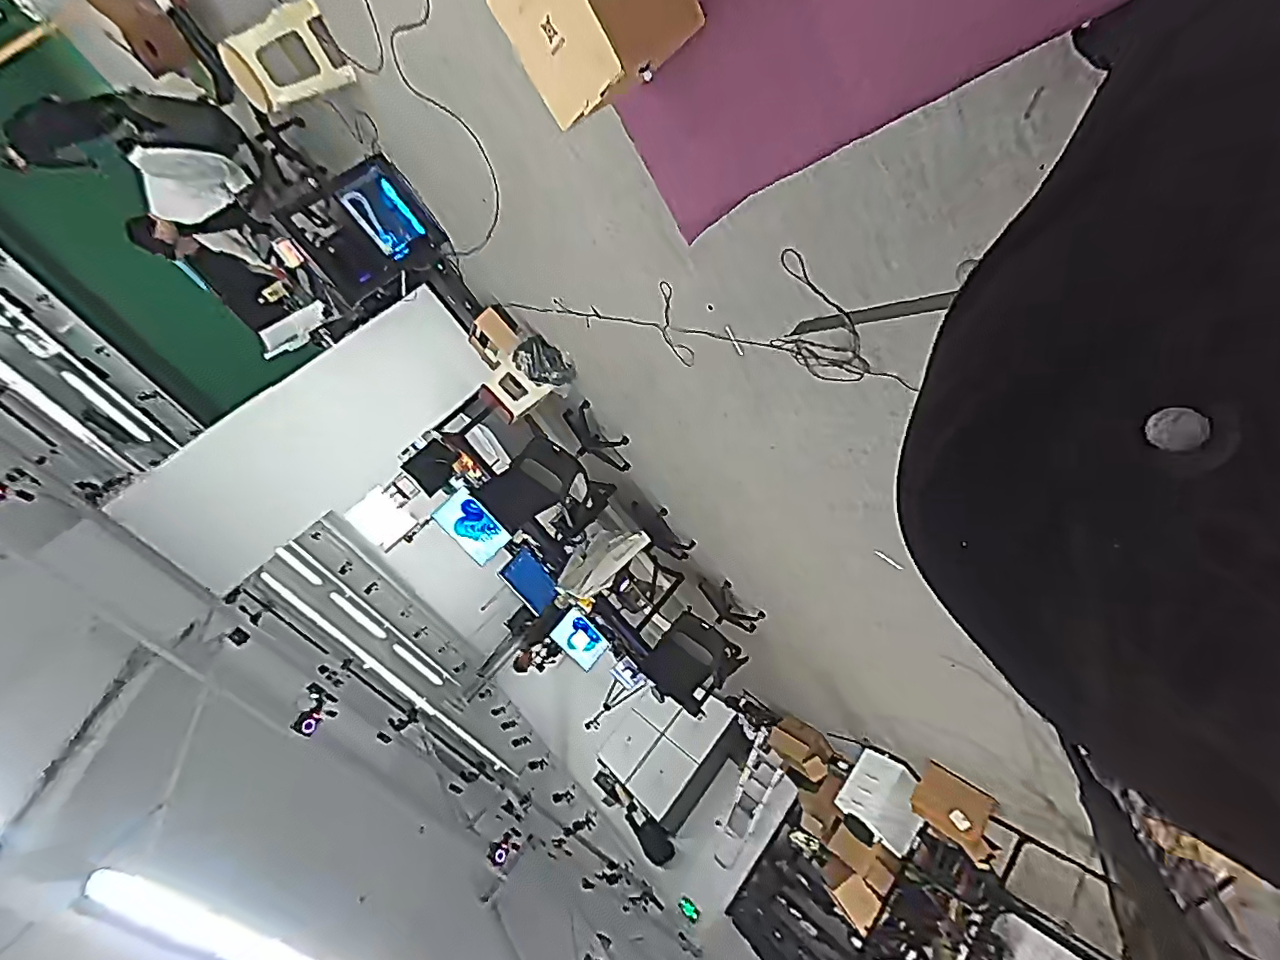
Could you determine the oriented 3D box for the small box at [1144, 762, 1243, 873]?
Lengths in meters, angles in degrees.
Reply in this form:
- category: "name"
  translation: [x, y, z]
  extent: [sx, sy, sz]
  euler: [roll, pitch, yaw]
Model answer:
- category: "small box"
  translation: [1.529, 0.926, 1.497]
  extent: [0.168, 0.176, 0.179]
  euler: [14, 144, 53]
